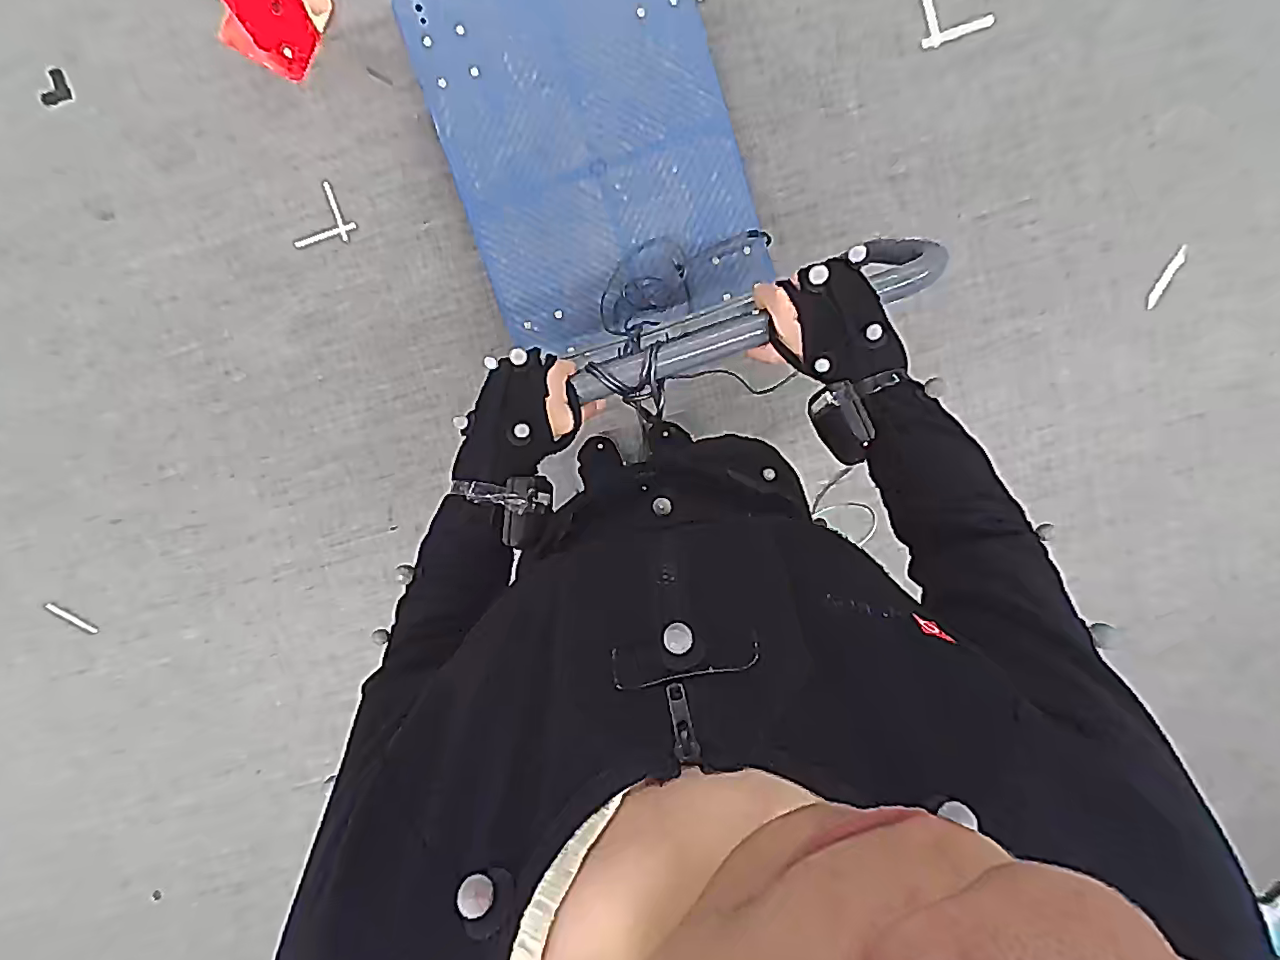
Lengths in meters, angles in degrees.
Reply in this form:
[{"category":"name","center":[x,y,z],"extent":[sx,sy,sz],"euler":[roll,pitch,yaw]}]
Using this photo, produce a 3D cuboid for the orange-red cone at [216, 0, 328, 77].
[{"category":"orange-red cone","center":[-0.809,-1.010,1.032],"extent":[0.198,0.360,0.199],"euler":[29,95,-6]}]
